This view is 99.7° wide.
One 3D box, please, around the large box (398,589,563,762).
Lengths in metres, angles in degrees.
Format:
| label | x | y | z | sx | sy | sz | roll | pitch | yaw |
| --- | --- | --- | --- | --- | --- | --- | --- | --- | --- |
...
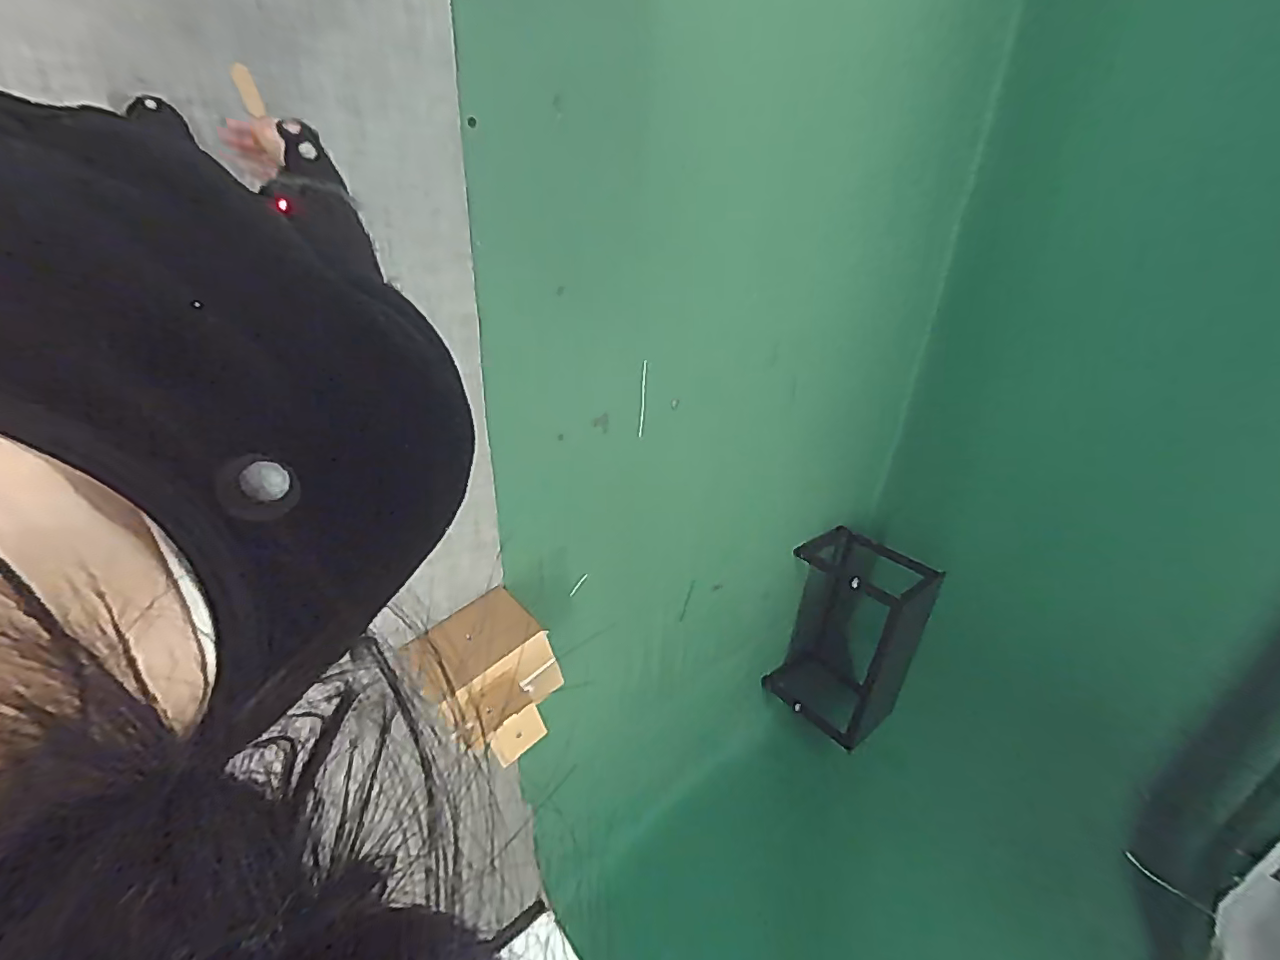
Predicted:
| label | x | y | z | sx | sy | sz | roll | pitch | yaw |
| --- | --- | --- | --- | --- | --- | --- | --- | --- | --- |
| large box | -0.546 | 0.665 | 1.883 | 0.408 | 0.320 | 0.320 | -34 | 132 | -29 |

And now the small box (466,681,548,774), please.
| label | x | y | z | sx | sy | sz | roll | pitch | yaw |
| --- | --- | --- | --- | --- | --- | --- | --- | --- | --- |
| small box | -0.418 | 0.762 | 1.692 | 0.168 | 0.176 | 0.179 | -32 | 130 | -28 |
